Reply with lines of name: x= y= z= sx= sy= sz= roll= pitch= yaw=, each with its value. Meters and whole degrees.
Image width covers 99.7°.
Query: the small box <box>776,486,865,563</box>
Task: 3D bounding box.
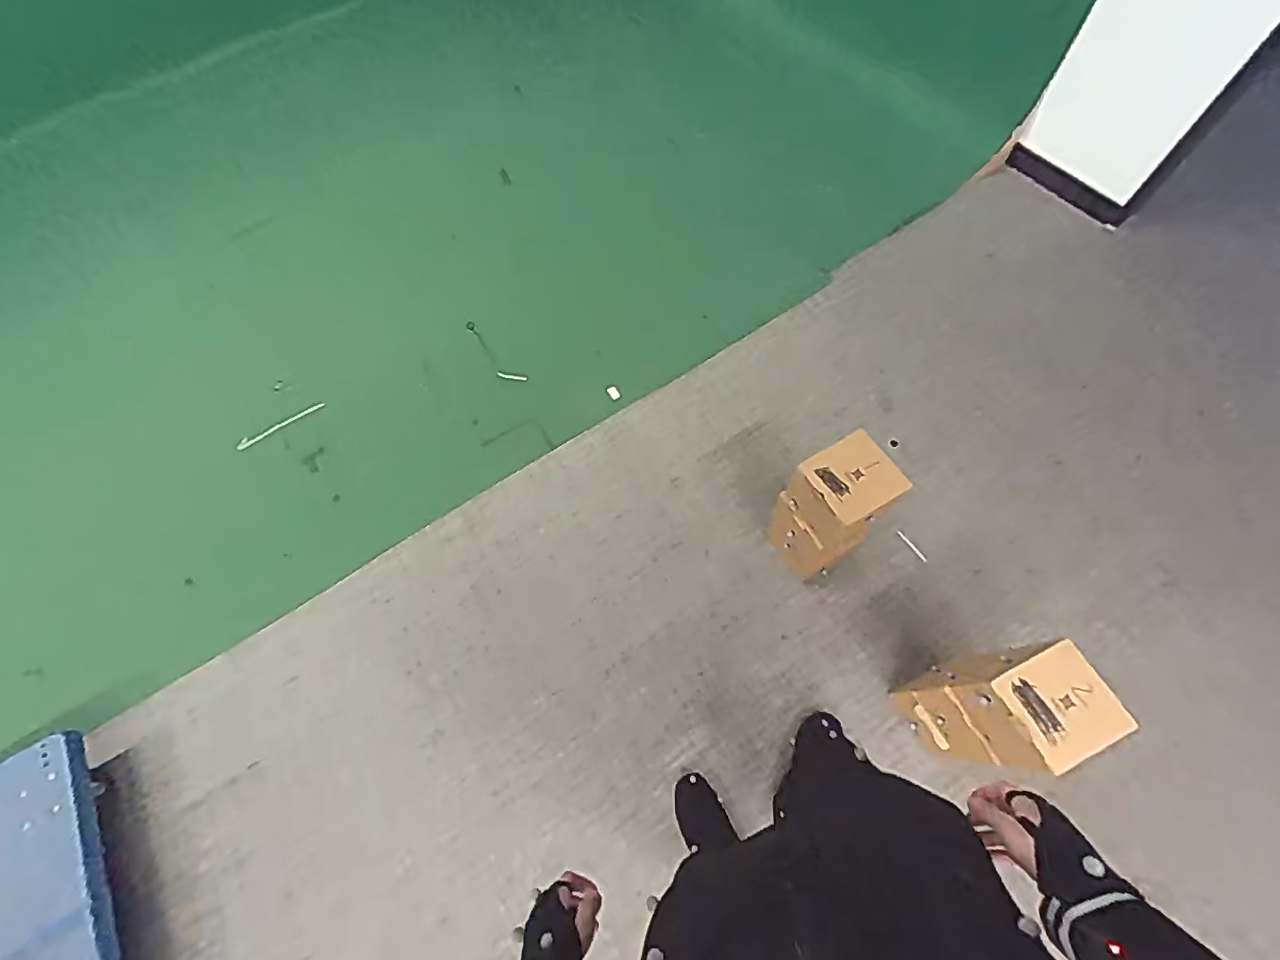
small box: x=0.457 y=0.087 z=1.356 sx=0.179 sy=0.176 sz=0.168 roll=-28 pitch=67 yaw=-6

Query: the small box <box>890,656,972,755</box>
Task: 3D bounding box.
small box: x=0.744 y=0.543 z=1.305 sx=0.179 sy=0.176 sz=0.168 roll=-22 pitch=64 yaw=-4

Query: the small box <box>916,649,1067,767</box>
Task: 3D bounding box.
small box: x=0.737 y=0.482 z=1.156 sx=0.179 sy=0.176 sz=0.168 roll=-27 pitch=67 yaw=-6

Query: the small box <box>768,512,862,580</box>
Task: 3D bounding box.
small box: x=0.476 y=0.155 z=1.503 sx=0.168 sy=0.176 sz=0.179 roll=-28 pitch=67 yaw=-7

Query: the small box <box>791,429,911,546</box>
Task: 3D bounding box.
small box: x=0.455 y=0.024 z=1.203 sx=0.179 sy=0.176 sz=0.168 roll=-29 pitch=67 yaw=-8
